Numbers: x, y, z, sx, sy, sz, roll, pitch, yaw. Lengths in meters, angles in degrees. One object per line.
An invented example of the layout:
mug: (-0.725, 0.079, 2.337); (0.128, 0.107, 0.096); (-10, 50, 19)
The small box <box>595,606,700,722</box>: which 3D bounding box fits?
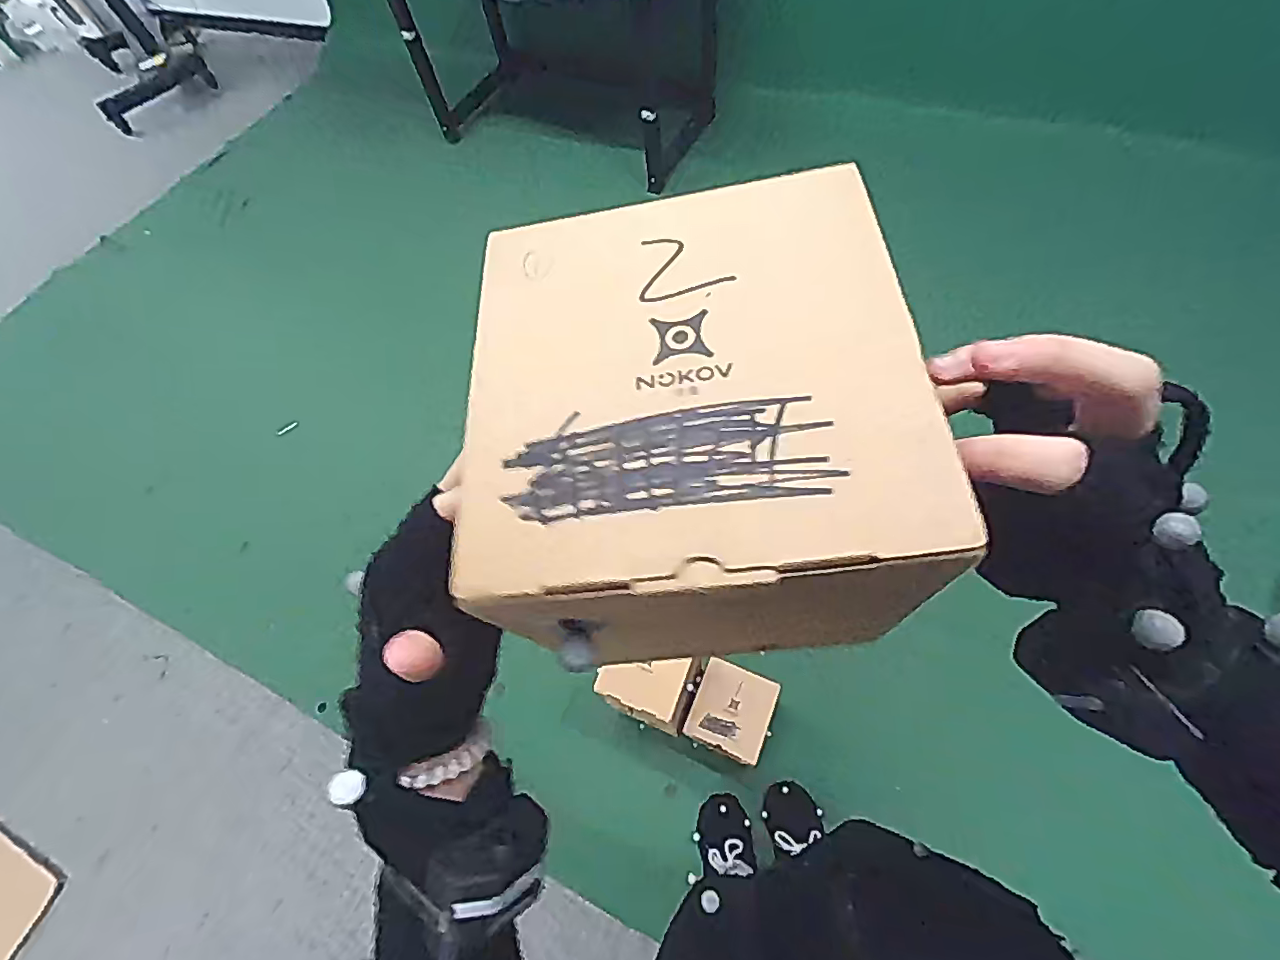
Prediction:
small box: (0.023, 0.396, 1.155); (0.168, 0.176, 0.179); (17, 66, 15)
